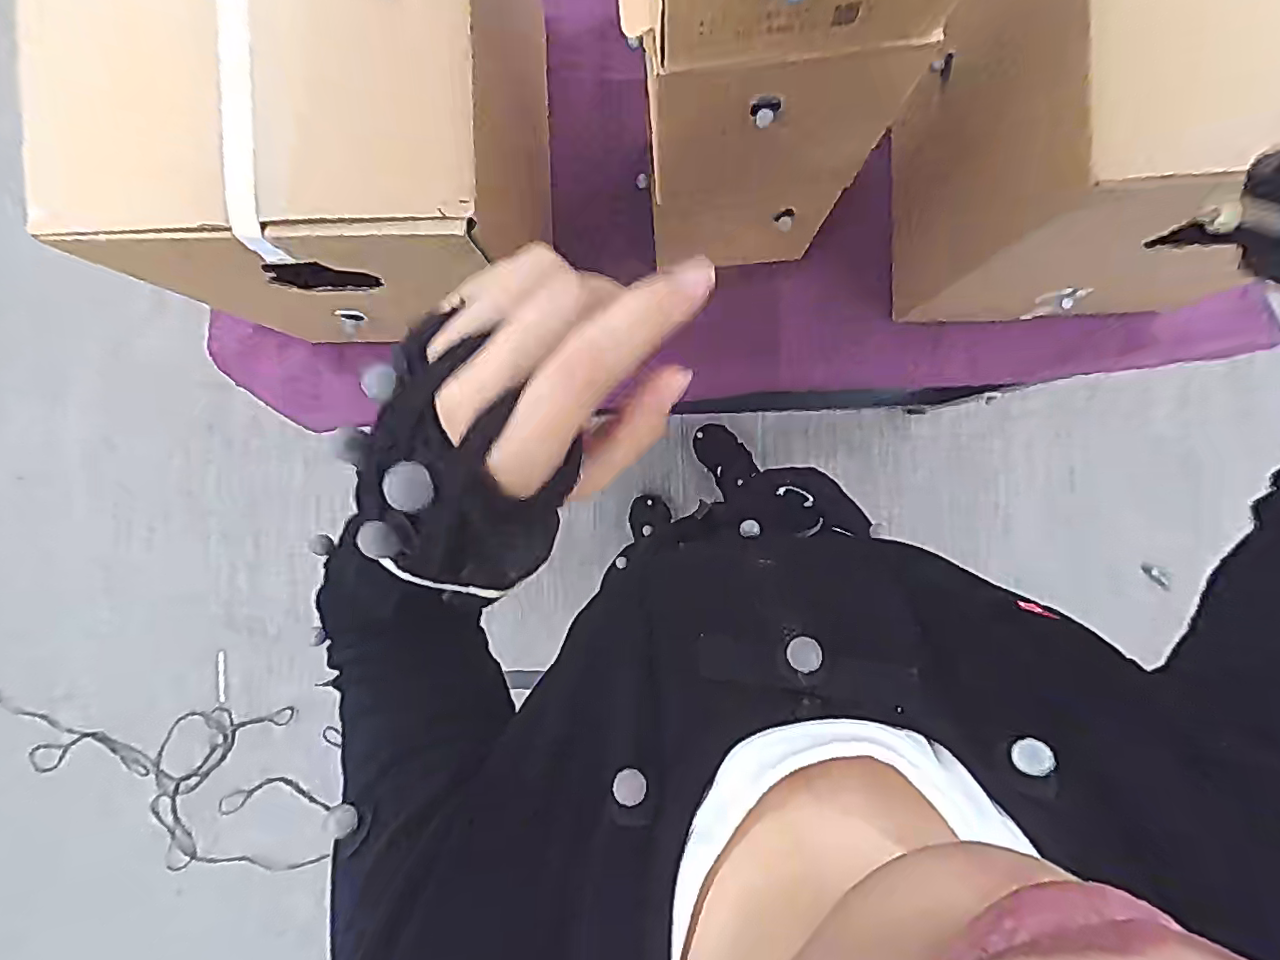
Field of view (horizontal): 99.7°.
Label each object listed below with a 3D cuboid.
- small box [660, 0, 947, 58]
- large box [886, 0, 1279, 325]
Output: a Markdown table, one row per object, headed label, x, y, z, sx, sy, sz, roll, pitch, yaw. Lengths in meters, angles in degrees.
| label | x | y | z | sx | sy | sz | roll | pitch | yaw |
| --- | --- | --- | --- | --- | --- | --- | --- | --- | --- |
| small box | 0.084 | -0.341 | 0.237 | 0.168 | 0.176 | 0.179 | -6 | 91 | 3 |
| large box | 0.435 | -0.384 | 0.477 | 0.320 | 0.320 | 0.408 | -2 | 90 | 2 |
